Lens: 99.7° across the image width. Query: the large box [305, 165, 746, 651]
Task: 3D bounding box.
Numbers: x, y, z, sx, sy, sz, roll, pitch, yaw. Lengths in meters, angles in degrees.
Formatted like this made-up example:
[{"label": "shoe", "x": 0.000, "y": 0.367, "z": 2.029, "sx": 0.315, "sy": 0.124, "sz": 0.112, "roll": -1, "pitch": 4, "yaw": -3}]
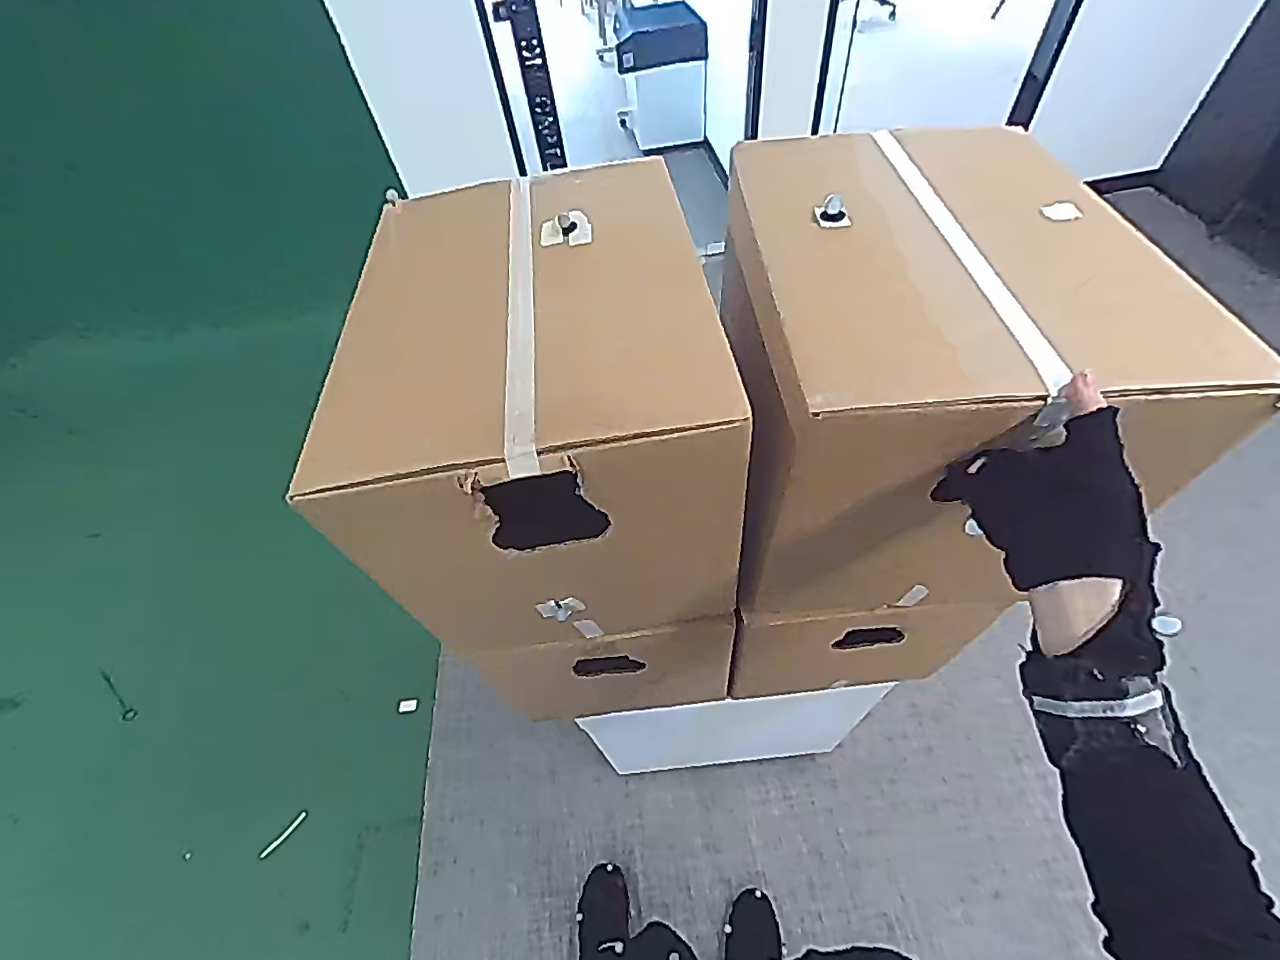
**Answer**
[{"label": "large box", "x": -0.086, "y": -0.079, "z": 0.597, "sx": 0.320, "sy": 0.320, "sz": 0.408, "roll": -9, "pitch": 52, "yaw": 1}]
